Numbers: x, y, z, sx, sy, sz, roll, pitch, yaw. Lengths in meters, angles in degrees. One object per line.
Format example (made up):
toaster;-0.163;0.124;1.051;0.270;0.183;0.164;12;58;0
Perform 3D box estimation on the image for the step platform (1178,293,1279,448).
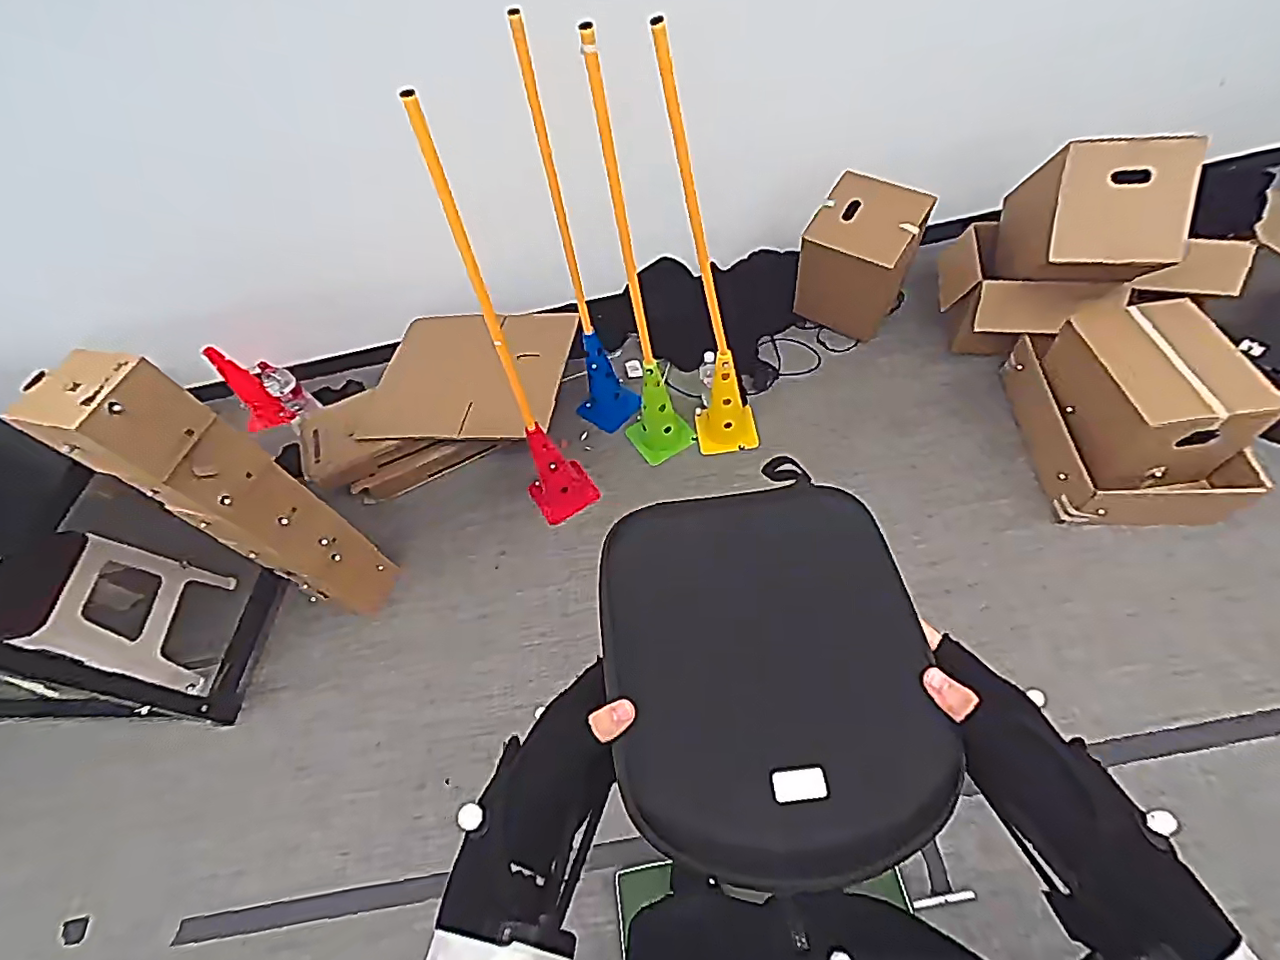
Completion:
step platform;2.007;-0.398;1.642;0.684;0.204;0.286;-36;58;-14
